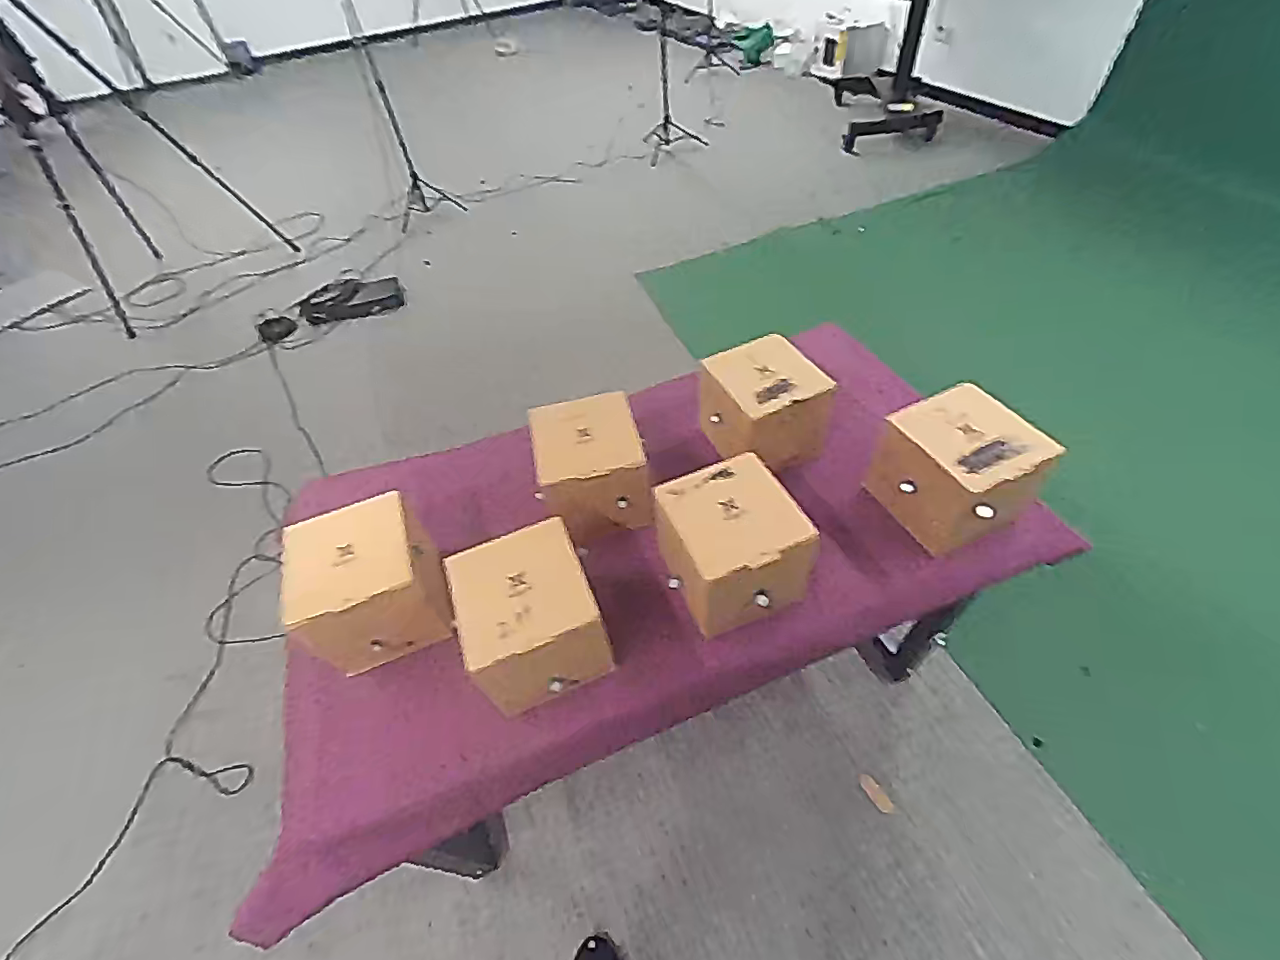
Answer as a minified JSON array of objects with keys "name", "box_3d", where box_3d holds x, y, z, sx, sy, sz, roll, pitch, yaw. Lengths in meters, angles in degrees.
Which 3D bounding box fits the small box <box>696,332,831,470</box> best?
[{"name":"small box","box_3d":[0.214,-0.131,0.978,0.168,0.176,0.179,-21,50,-12]}]

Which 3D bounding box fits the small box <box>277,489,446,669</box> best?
[{"name":"small box","box_3d":[-0.407,0.149,0.807,0.168,0.176,0.179,-20,52,-11]}]

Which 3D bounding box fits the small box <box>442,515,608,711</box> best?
[{"name":"small box","box_3d":[-0.155,0.184,0.749,0.168,0.176,0.179,-21,51,-10]}]

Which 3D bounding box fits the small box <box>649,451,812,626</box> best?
[{"name":"small box","box_3d":[0.126,0.093,0.797,0.168,0.176,0.179,-20,50,-11]}]
